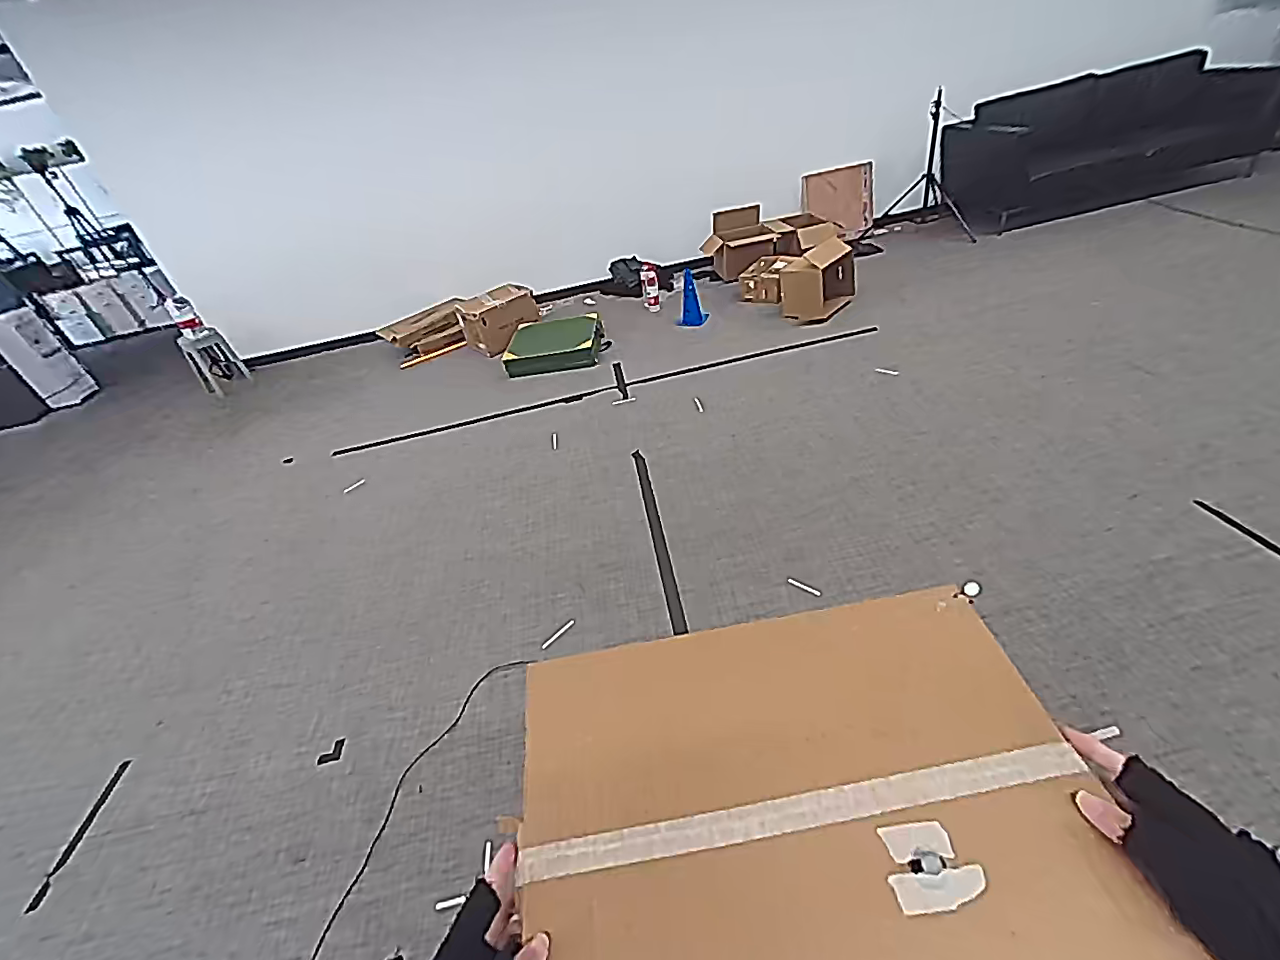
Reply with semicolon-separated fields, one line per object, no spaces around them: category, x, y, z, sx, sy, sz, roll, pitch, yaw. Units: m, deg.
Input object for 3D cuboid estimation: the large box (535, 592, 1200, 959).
large box;0.134;0.352;0.499;0.408;0.320;0.320;-10;43;-2
